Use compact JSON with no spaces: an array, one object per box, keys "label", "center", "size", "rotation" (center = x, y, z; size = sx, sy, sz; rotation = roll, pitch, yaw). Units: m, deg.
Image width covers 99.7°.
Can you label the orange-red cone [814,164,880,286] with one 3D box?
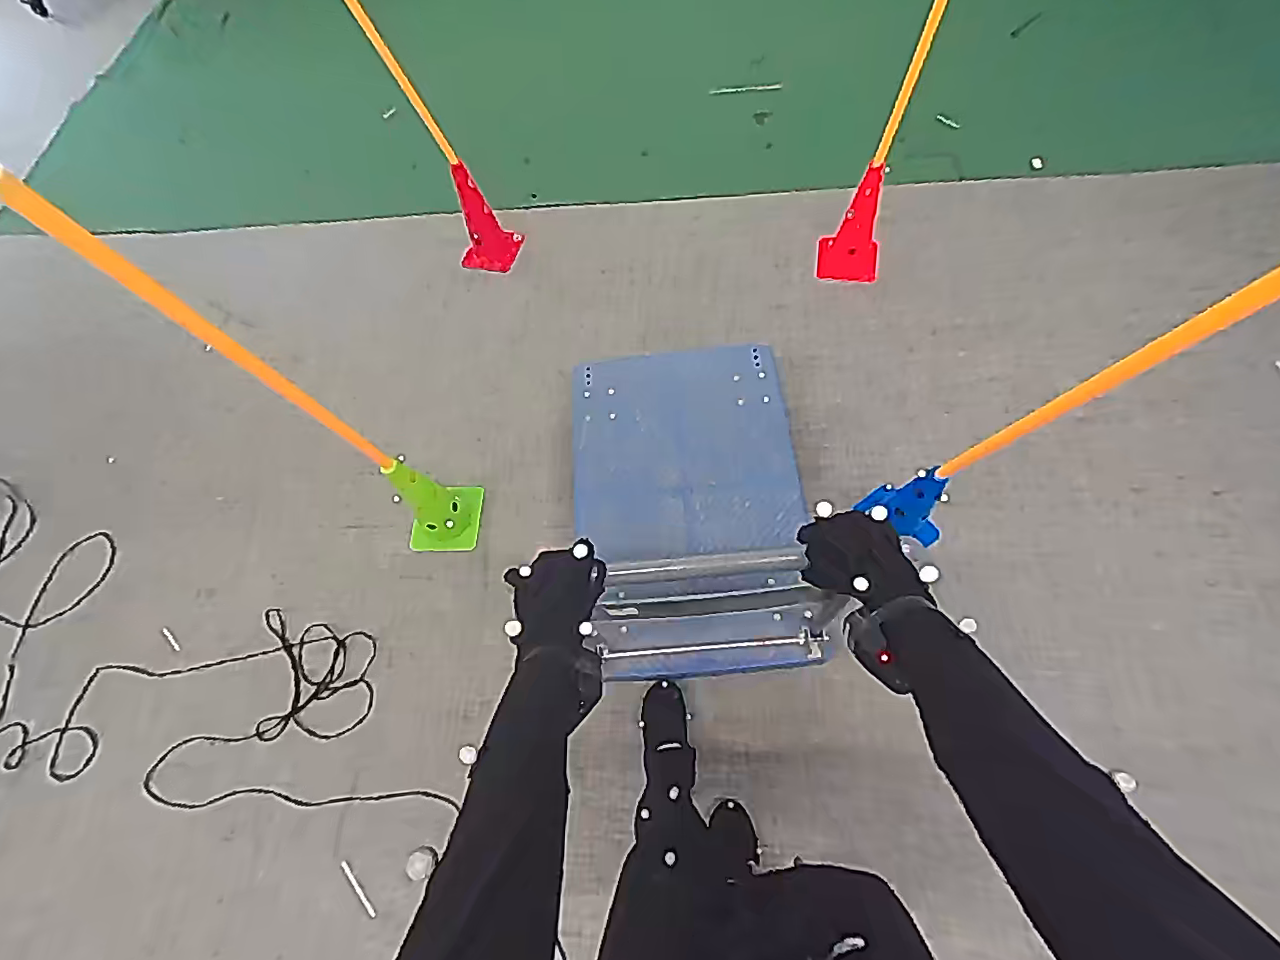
[{"label":"orange-red cone","center":[0.695,-0.826,1.722],"size":[0.198,0.360,0.199],"rotation":[9,67,11]}]
